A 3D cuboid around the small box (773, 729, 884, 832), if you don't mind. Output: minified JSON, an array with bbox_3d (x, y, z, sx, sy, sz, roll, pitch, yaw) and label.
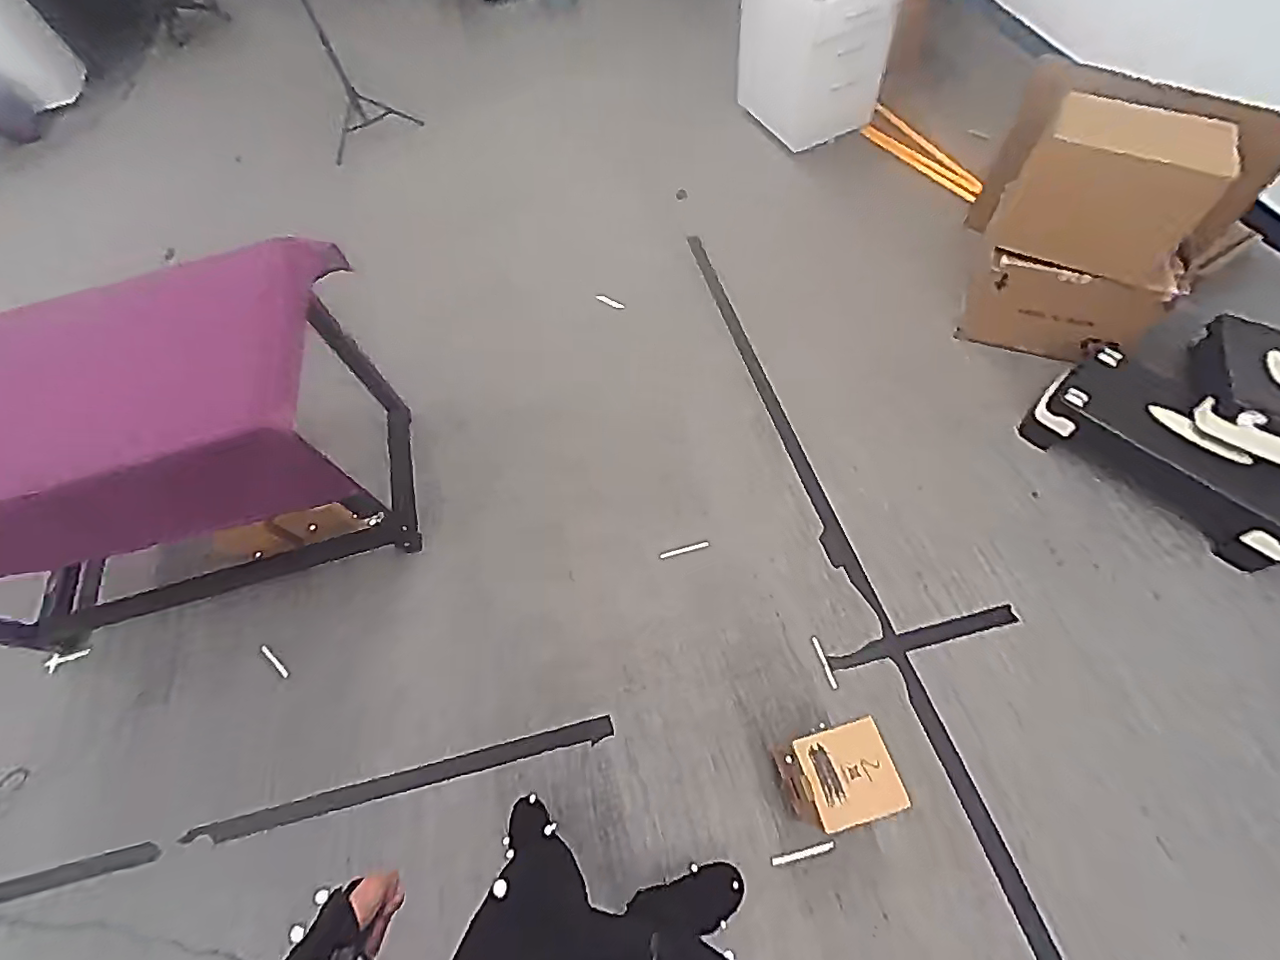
[{"bbox_3d":[0.429,0.694,1.264,0.179,0.176,0.168,-18,62,-2],"label":"small box"}]
